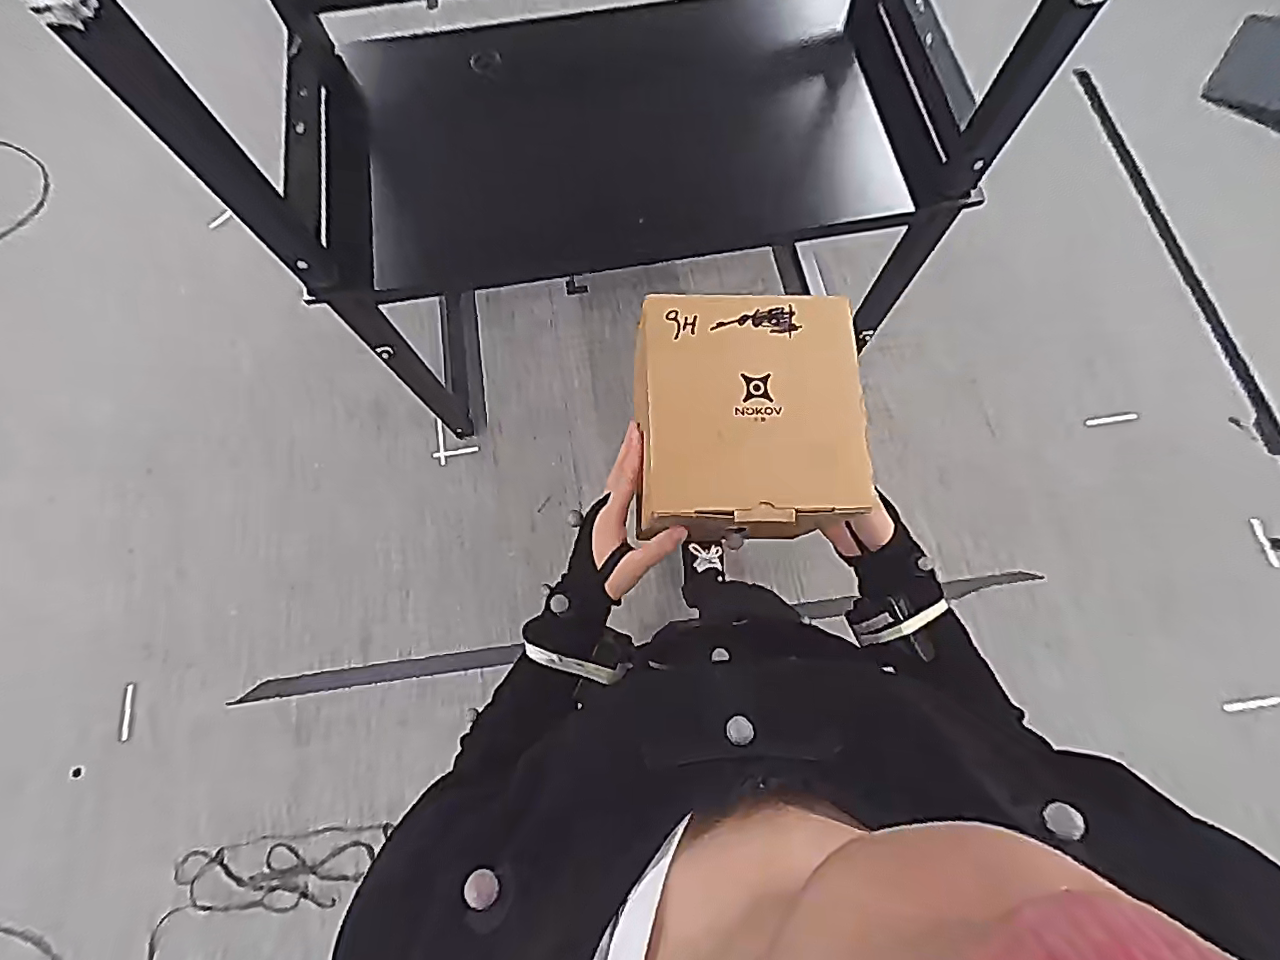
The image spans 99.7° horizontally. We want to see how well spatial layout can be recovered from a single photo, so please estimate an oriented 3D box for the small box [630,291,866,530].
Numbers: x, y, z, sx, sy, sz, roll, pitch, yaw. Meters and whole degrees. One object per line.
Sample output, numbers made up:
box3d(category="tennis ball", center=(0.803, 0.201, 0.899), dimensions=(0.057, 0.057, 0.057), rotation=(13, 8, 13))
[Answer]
box3d(category="small box", center=(0.080, -0.048, 0.490), dimensions=(0.168, 0.176, 0.179), rotation=(0, 78, -5))
